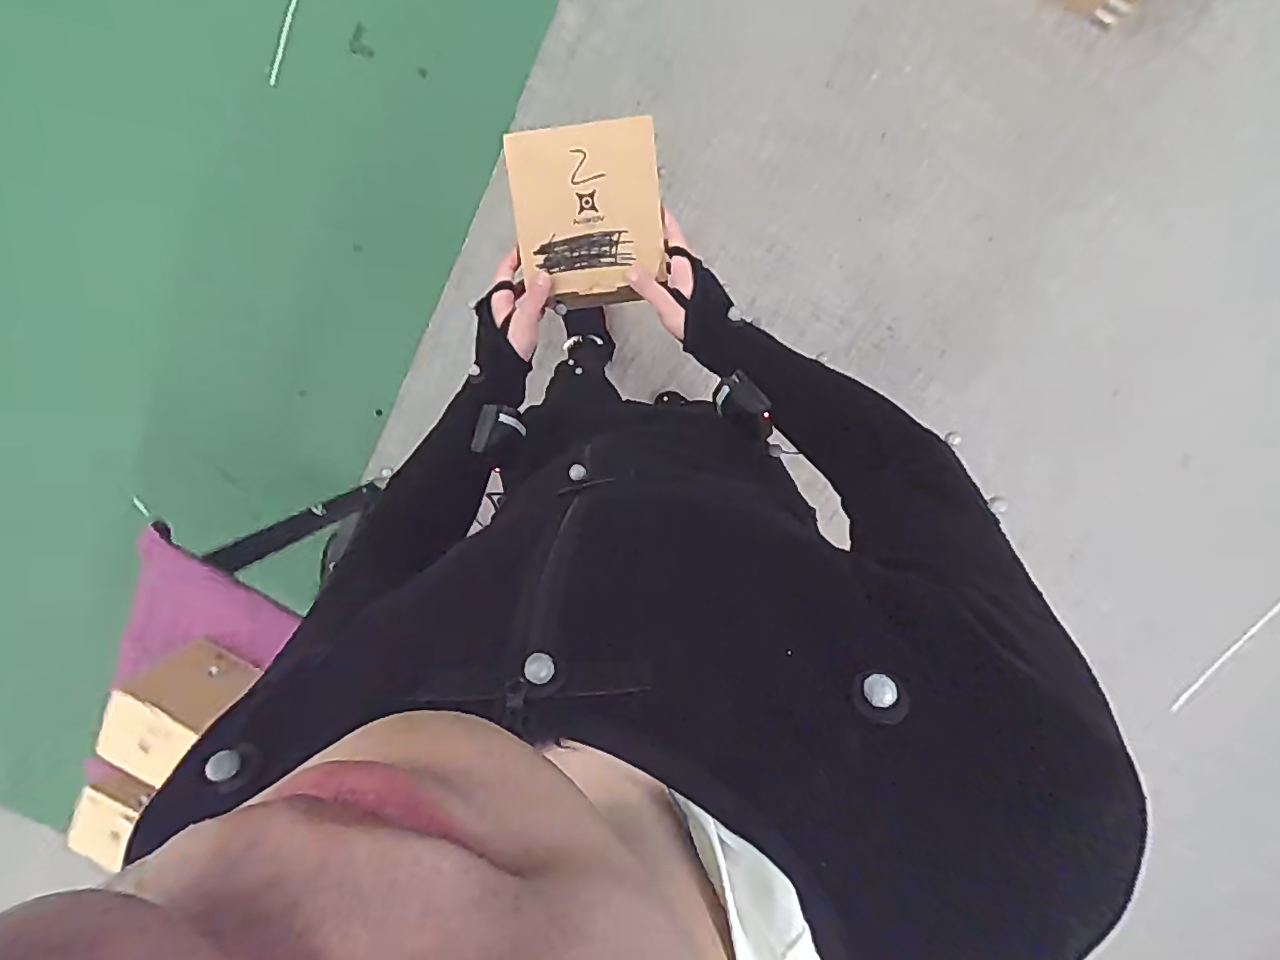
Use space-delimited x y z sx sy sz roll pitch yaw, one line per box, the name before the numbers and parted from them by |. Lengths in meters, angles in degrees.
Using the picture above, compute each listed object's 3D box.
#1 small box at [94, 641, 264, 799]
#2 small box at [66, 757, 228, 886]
small box | -0.867 0.449 1.032 0.168 0.176 0.179 31 107 -3
small box | -0.997 0.664 1.107 0.168 0.176 0.179 29 106 -2
